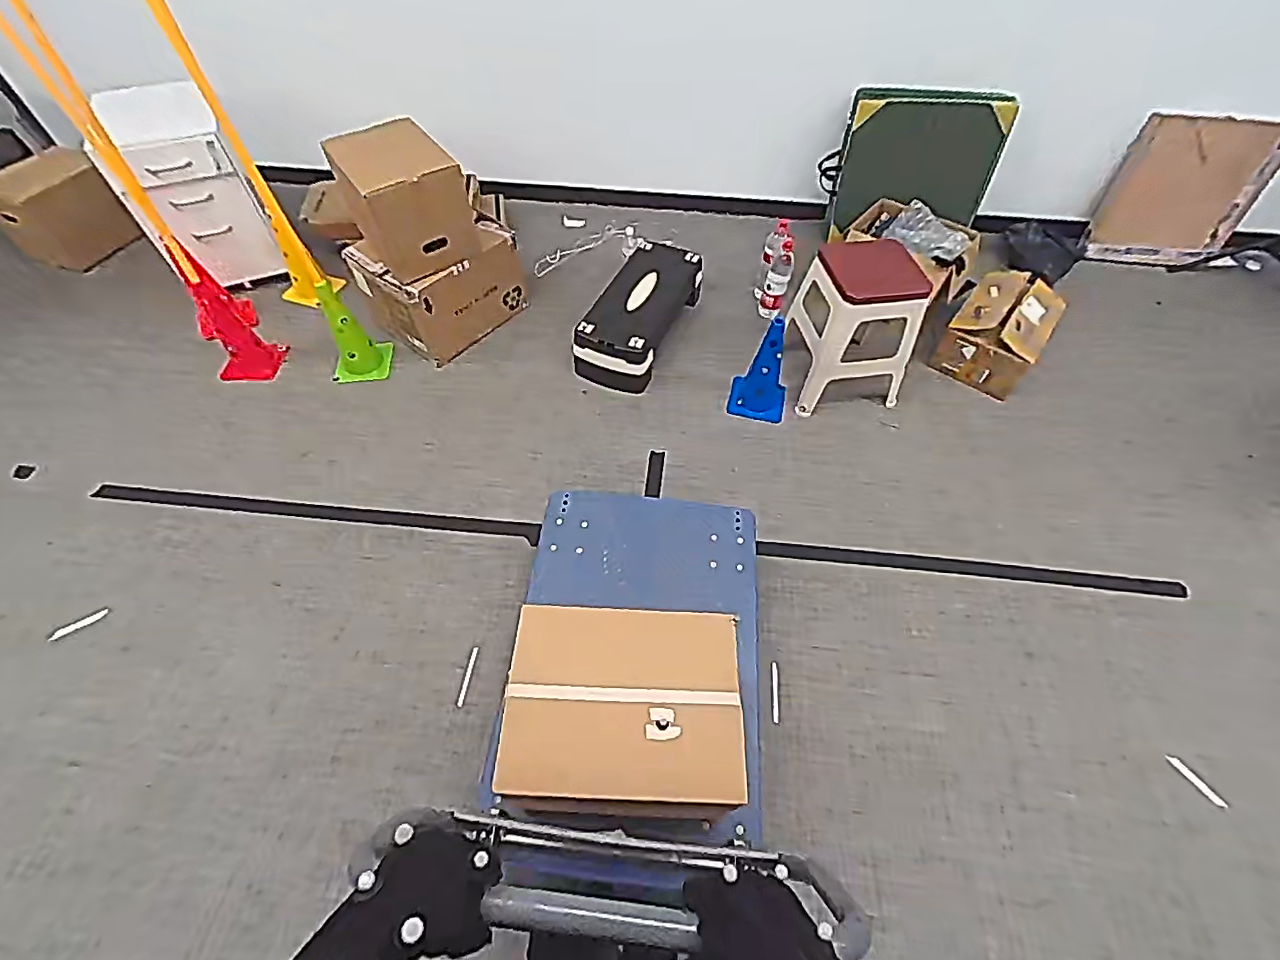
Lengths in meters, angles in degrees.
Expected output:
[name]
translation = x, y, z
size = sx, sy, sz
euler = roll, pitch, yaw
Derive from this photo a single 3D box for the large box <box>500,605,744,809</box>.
[large box]
translation = -0.034, 0.460, 1.075
size = 0.408, 0.320, 0.320
euler = 3, 55, -1
